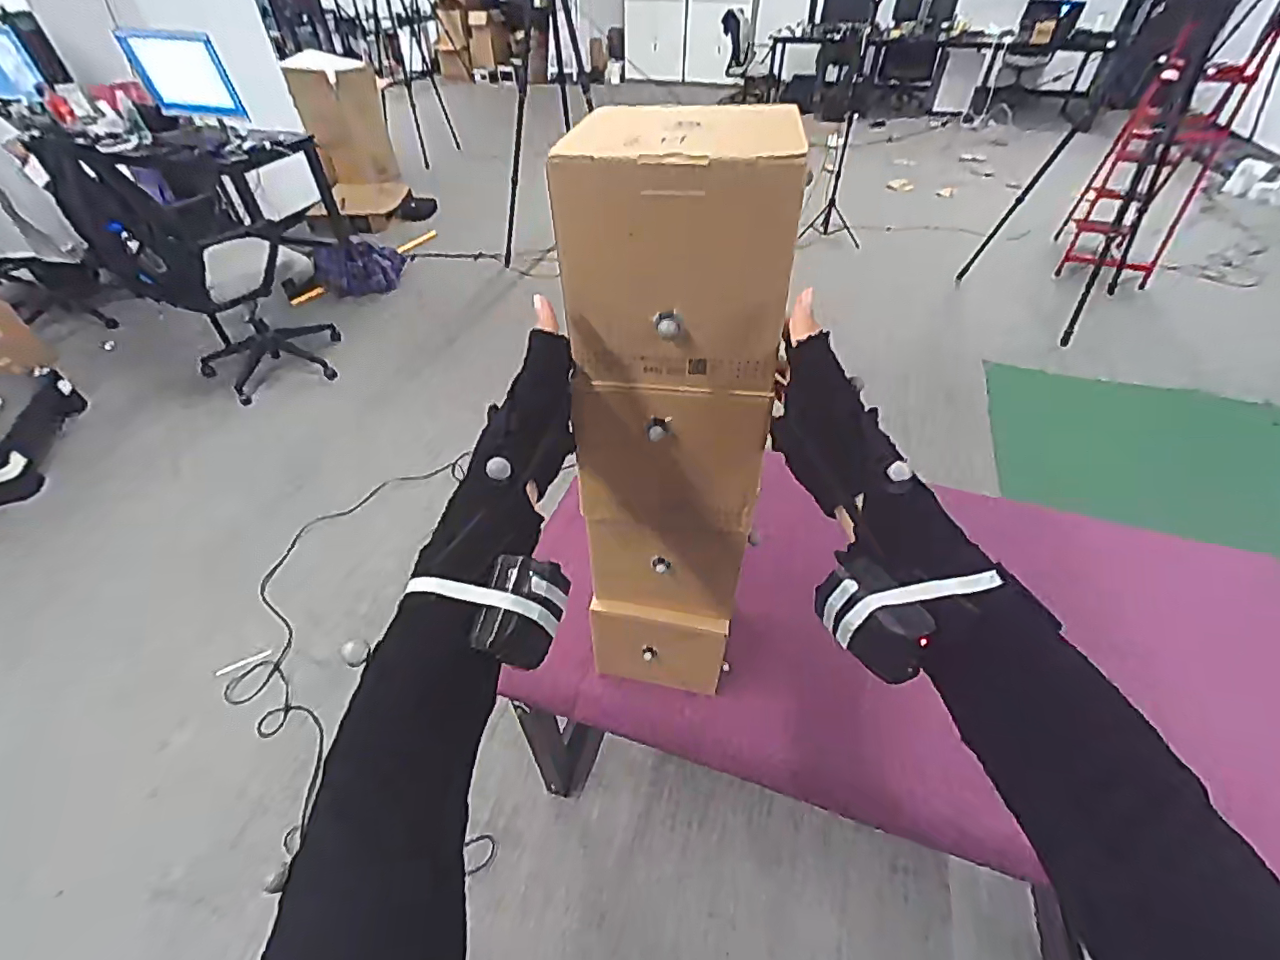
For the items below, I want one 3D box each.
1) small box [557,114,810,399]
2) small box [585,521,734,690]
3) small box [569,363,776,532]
[{"bbox_3d":[0.040,-0.191,0.455,0.168,0.176,0.179,6,44,8],"label":"small box"},{"bbox_3d":[0.031,0.180,0.779,0.179,0.176,0.168,9,44,9],"label":"small box"},{"bbox_3d":[0.038,-0.063,0.560,0.179,0.176,0.168,5,44,7],"label":"small box"}]
